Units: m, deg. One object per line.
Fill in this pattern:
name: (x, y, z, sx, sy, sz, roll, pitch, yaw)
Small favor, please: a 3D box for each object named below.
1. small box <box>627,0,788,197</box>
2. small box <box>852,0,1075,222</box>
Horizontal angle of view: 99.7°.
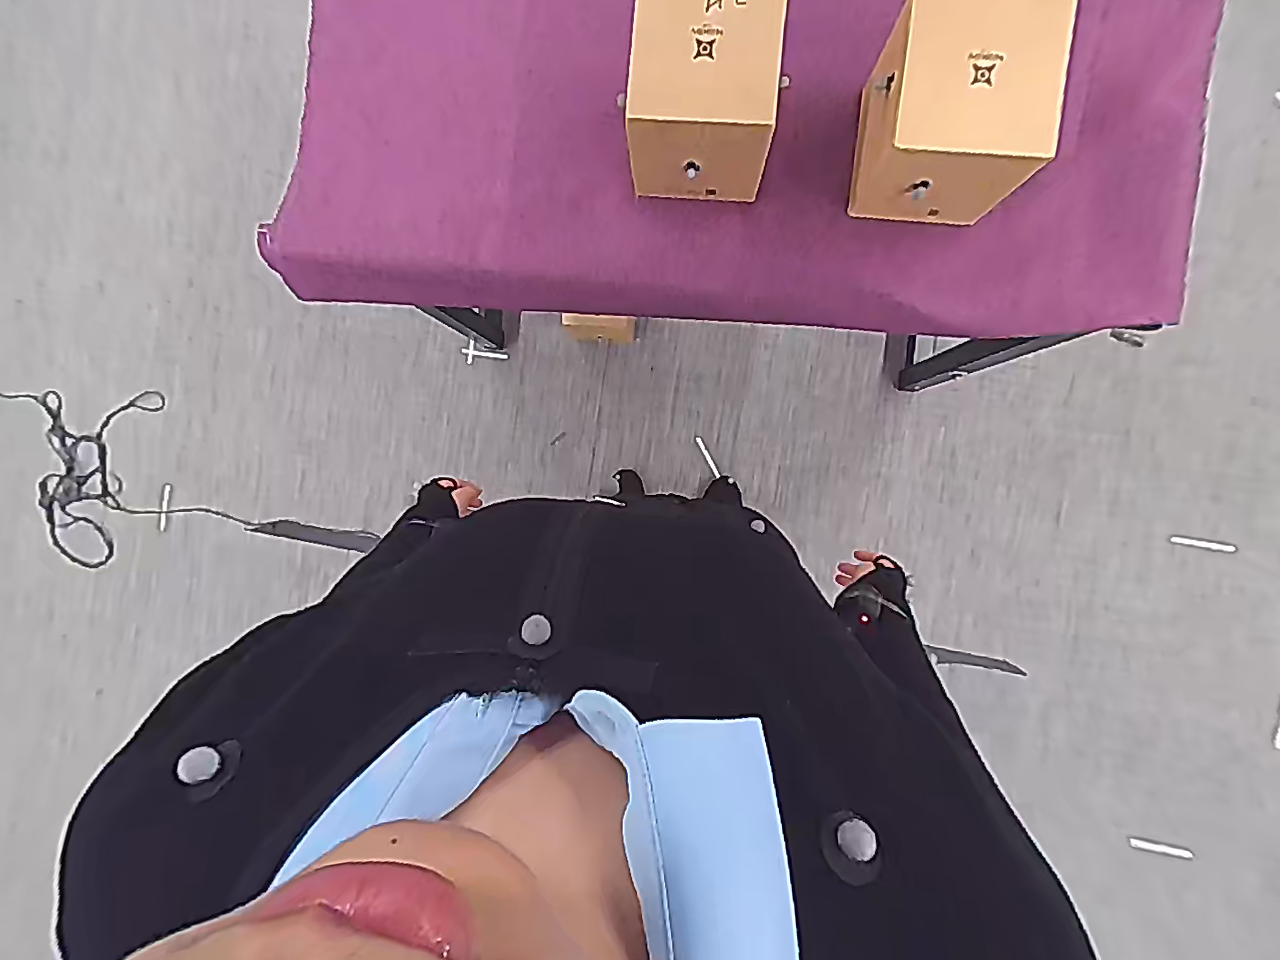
small box: (0.080, -0.479, 0.670, 0.168, 0.176, 0.179, 6, 90, 3)
small box: (0.368, -0.434, 0.650, 0.168, 0.176, 0.179, 7, 92, 5)
